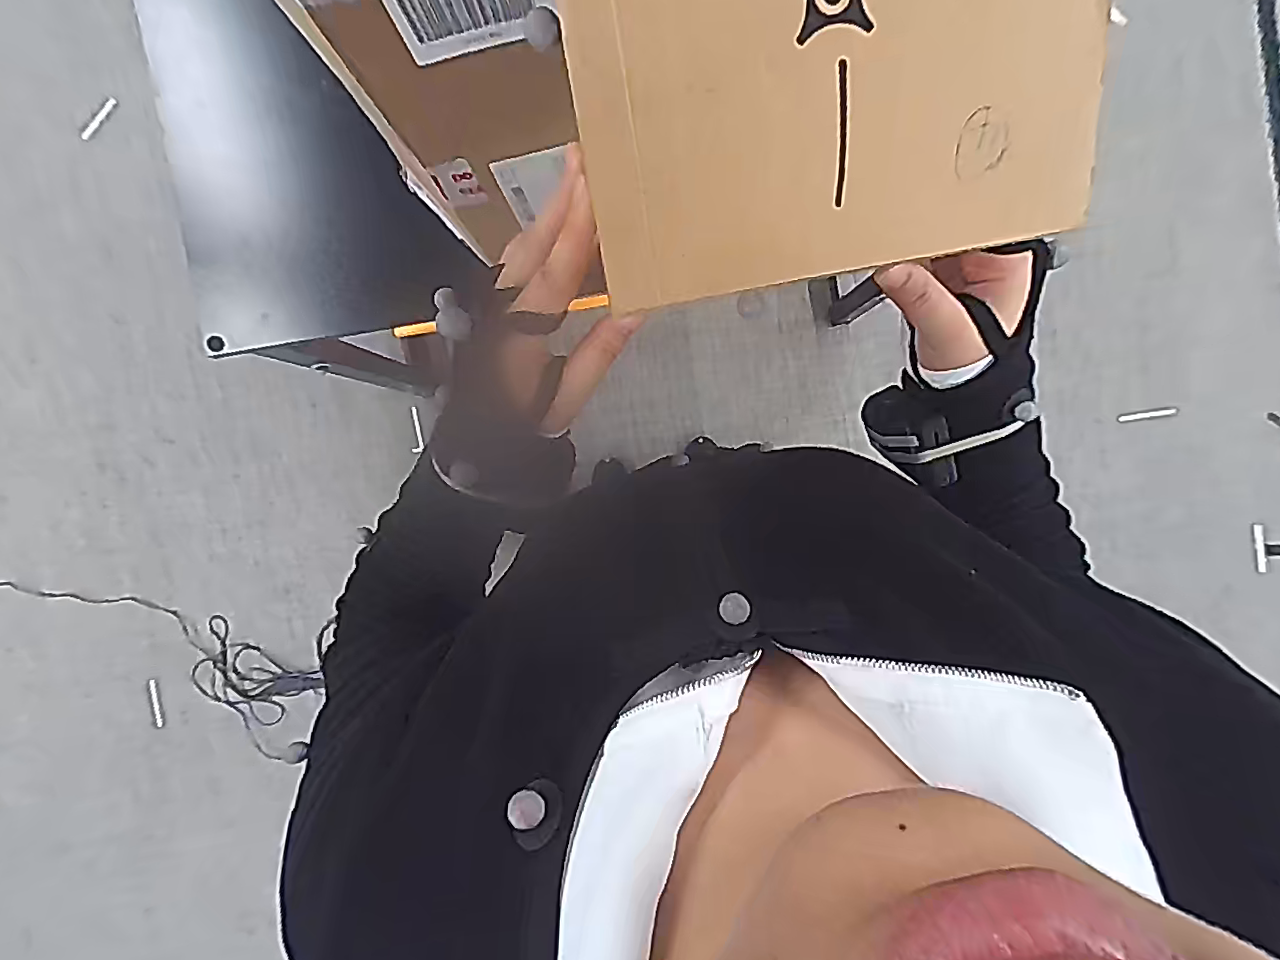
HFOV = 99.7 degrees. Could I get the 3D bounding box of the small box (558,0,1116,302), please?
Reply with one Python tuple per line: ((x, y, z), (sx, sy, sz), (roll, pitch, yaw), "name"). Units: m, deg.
((0.054, -0.179, 0.232), (0.168, 0.176, 0.179), (-10, 109, 0), "small box")
